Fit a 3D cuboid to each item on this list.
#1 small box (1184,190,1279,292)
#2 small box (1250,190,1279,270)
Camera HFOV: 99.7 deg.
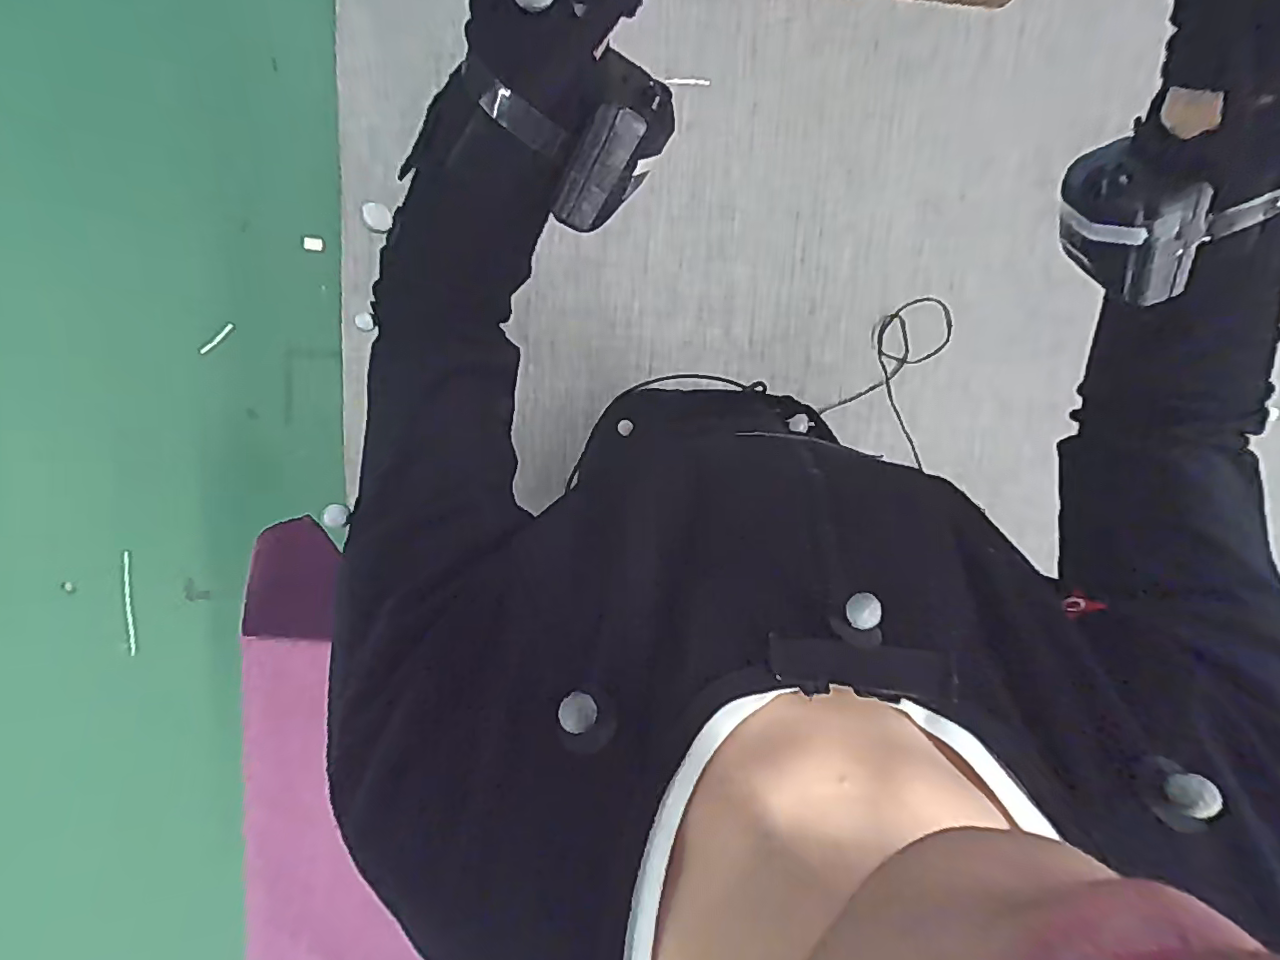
[{"bbox_3d":[1.445,-0.553,1.267,0.168,0.176,0.179,3,98,1],"label":"small box"},{"bbox_3d":[1.439,-0.531,1.105,0.179,0.176,0.168,3,98,1],"label":"small box"}]
